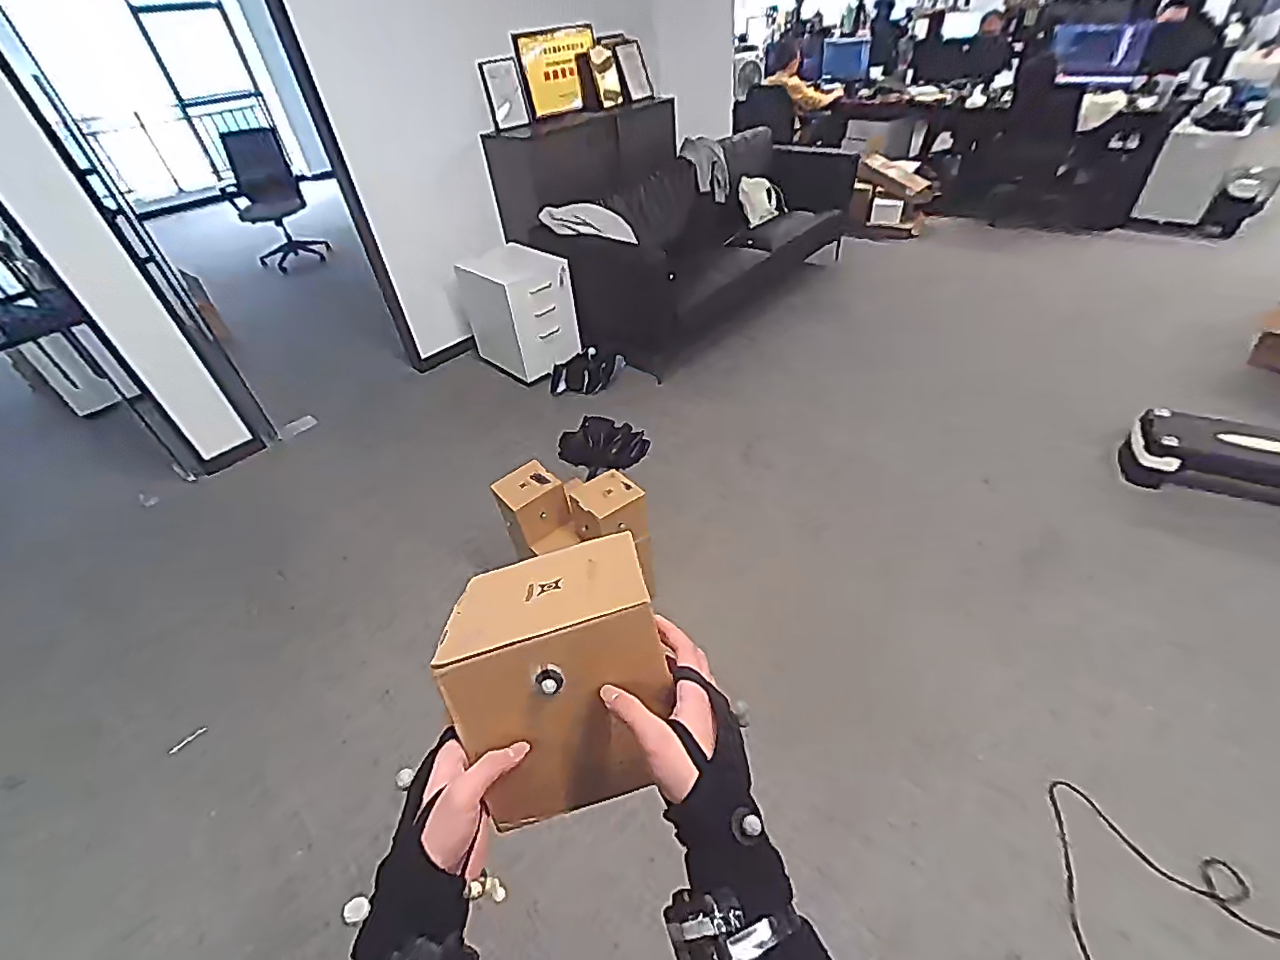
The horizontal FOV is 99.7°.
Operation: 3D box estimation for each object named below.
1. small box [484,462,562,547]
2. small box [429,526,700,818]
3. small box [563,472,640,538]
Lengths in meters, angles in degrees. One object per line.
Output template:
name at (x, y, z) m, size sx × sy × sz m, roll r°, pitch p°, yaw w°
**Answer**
small box at (-0.366, 0.080, 1.734) m, size 0.179 × 0.176 × 0.168 m, roll -33°, pitch 47°, yaw -25°
small box at (-0.061, 0.164, 0.492) m, size 0.179 × 0.176 × 0.168 m, roll -15°, pitch 15°, yaw -4°
small box at (-0.113, 0.110, 1.671) m, size 0.179 × 0.176 × 0.168 m, roll -30°, pitch 45°, yaw -28°
